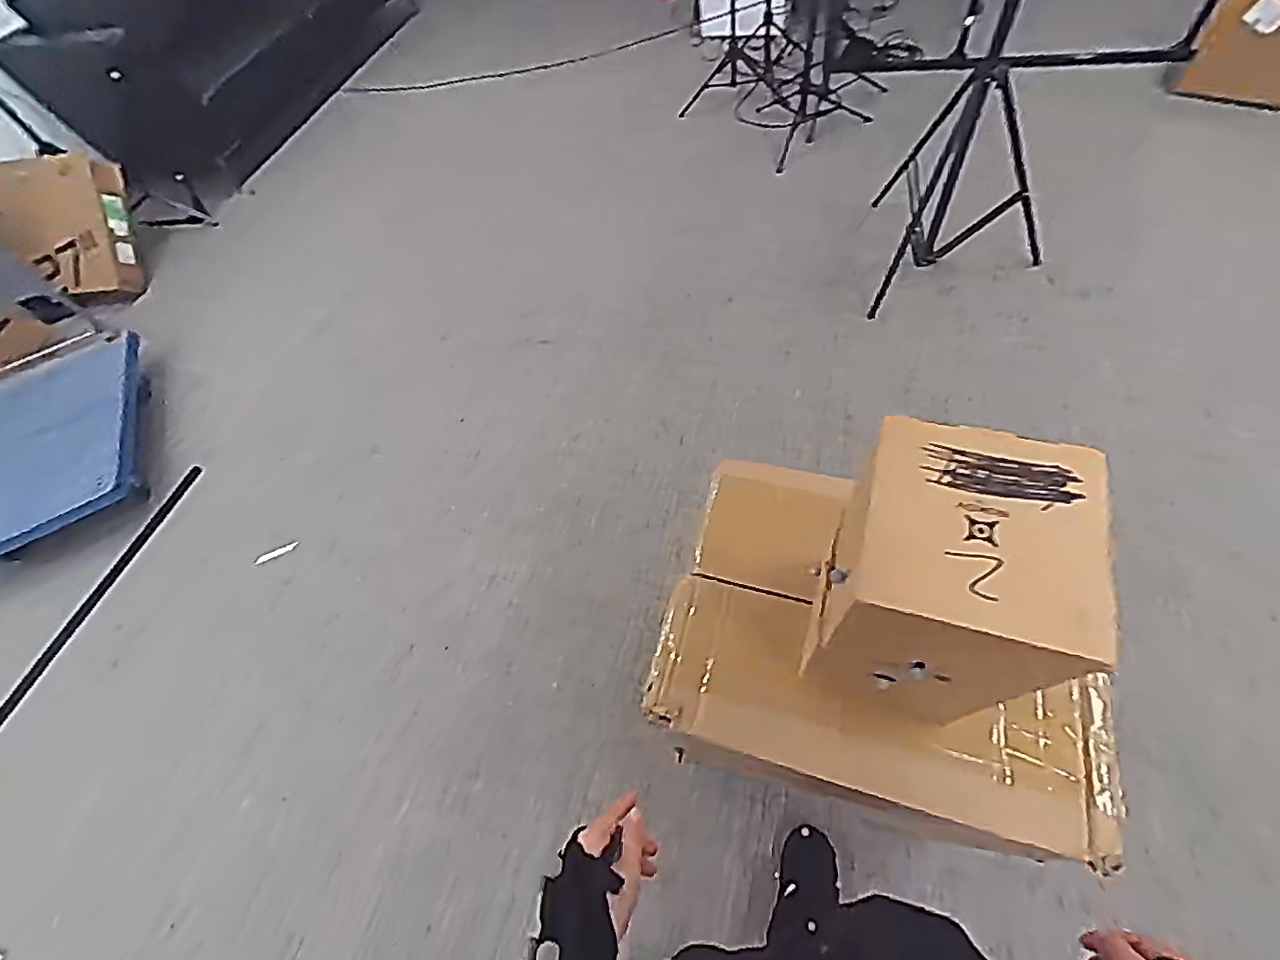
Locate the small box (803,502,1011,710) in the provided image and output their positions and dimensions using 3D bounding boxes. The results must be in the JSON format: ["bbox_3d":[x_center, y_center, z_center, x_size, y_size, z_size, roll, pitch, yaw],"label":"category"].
[{"bbox_3d":[0.294,0.150,0.624,0.179,0.176,0.168,13,63,17],"label":"small box"}]
